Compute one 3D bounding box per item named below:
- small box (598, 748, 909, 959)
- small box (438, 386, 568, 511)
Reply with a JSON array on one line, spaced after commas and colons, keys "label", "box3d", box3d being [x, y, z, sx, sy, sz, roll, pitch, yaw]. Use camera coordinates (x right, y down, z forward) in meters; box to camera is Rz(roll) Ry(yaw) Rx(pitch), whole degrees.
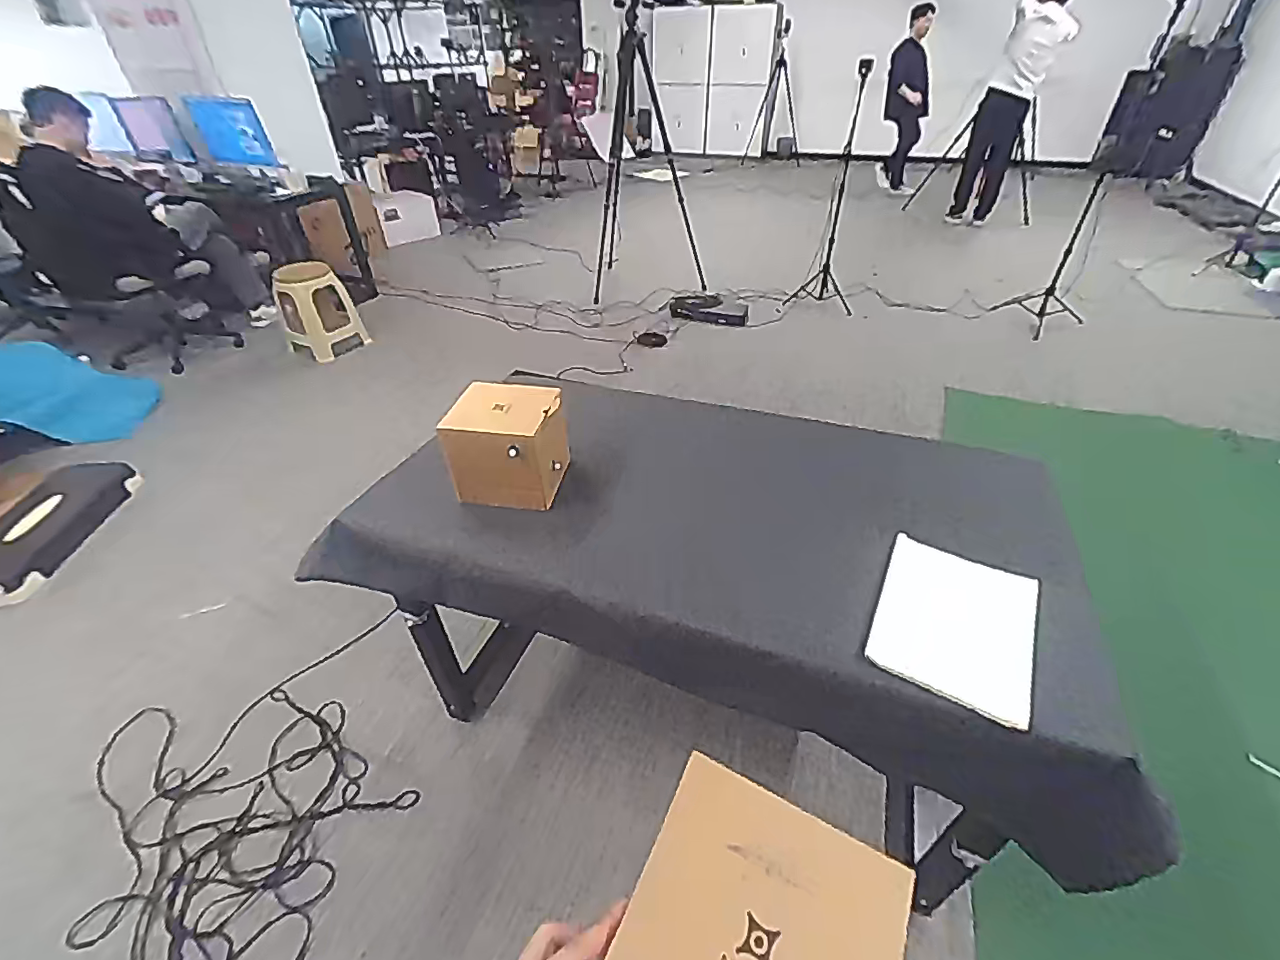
[{"label": "small box", "box3d": [0.069, 0.341, 0.396, 0.168, 0.176, 0.179, 22, 51, 16]}, {"label": "small box", "box3d": [-0.242, -0.059, 1.003, 0.179, 0.176, 0.168, 5, 38, 7]}]
